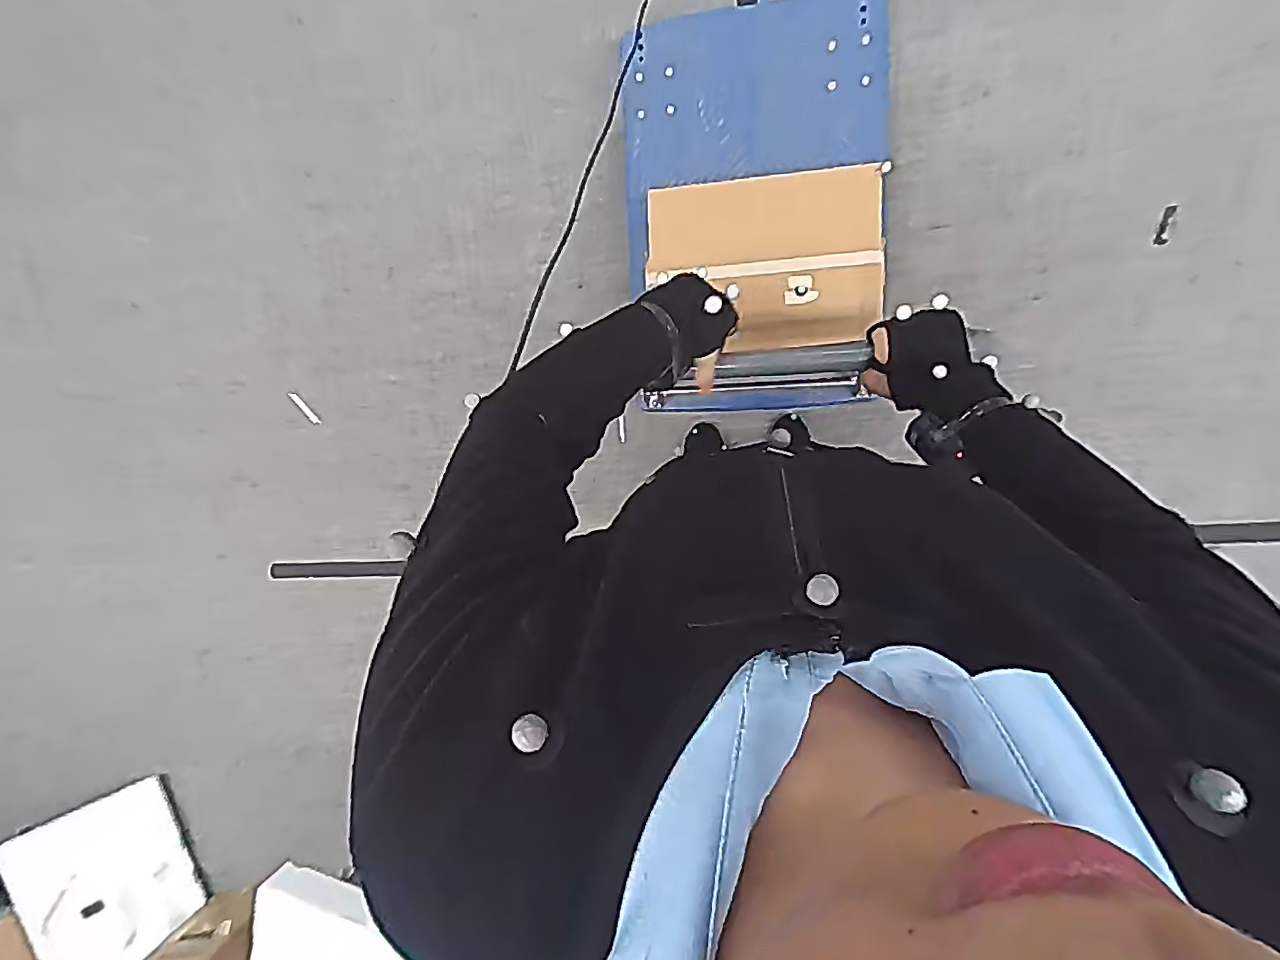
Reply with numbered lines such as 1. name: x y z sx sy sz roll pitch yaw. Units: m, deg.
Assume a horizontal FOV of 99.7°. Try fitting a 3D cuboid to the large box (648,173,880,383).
1. large box: 0.240 -0.378 1.111 0.408 0.320 0.320 -1 97 10
